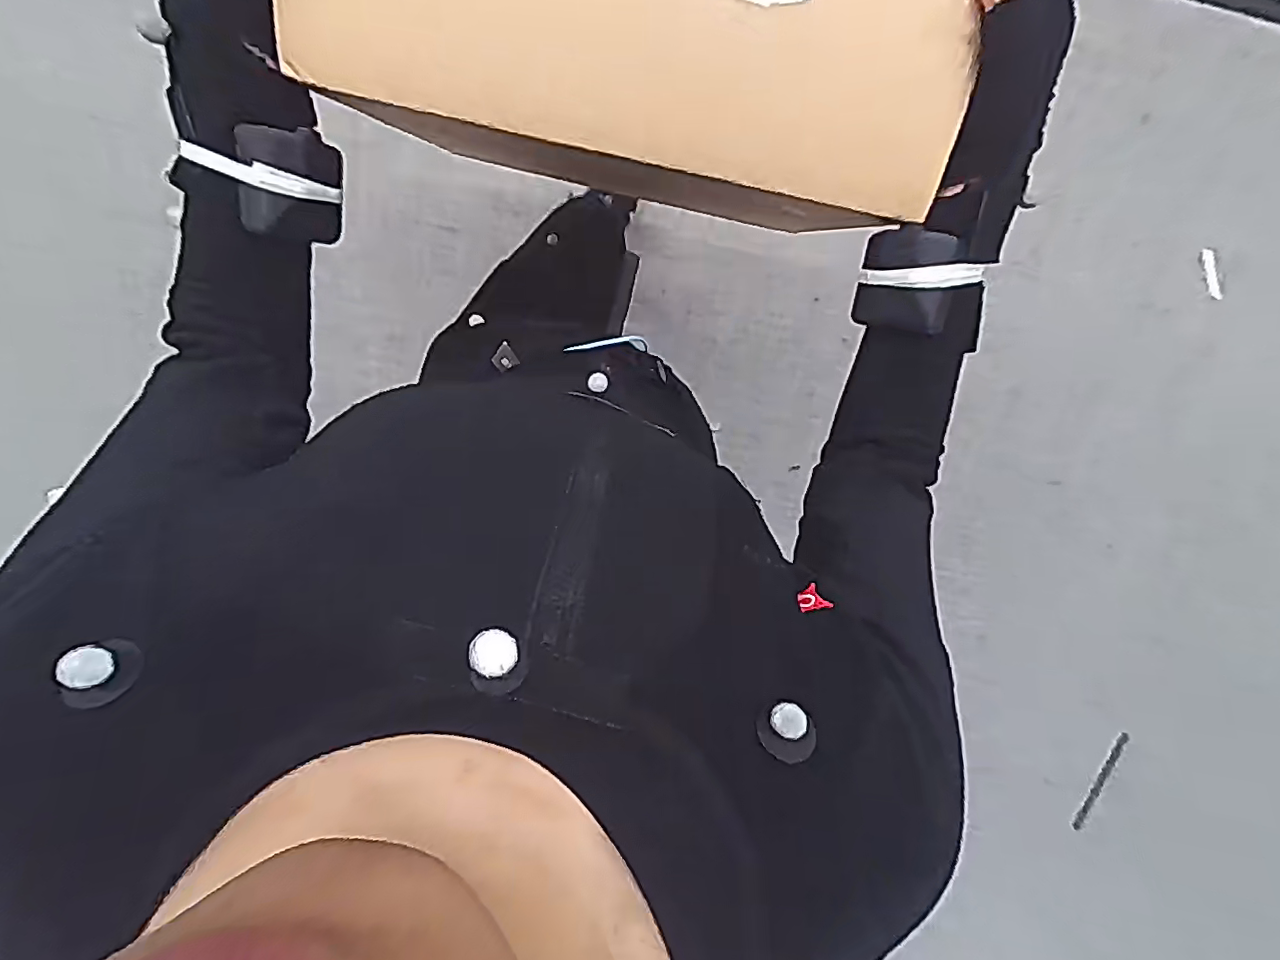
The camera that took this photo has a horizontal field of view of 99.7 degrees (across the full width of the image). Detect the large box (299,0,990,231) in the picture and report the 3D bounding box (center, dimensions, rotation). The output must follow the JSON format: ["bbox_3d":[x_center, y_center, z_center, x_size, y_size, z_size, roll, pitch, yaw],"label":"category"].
[{"bbox_3d":[0.015,-0.402,0.424,0.408,0.320,0.320,10,114,-5],"label":"large box"}]
